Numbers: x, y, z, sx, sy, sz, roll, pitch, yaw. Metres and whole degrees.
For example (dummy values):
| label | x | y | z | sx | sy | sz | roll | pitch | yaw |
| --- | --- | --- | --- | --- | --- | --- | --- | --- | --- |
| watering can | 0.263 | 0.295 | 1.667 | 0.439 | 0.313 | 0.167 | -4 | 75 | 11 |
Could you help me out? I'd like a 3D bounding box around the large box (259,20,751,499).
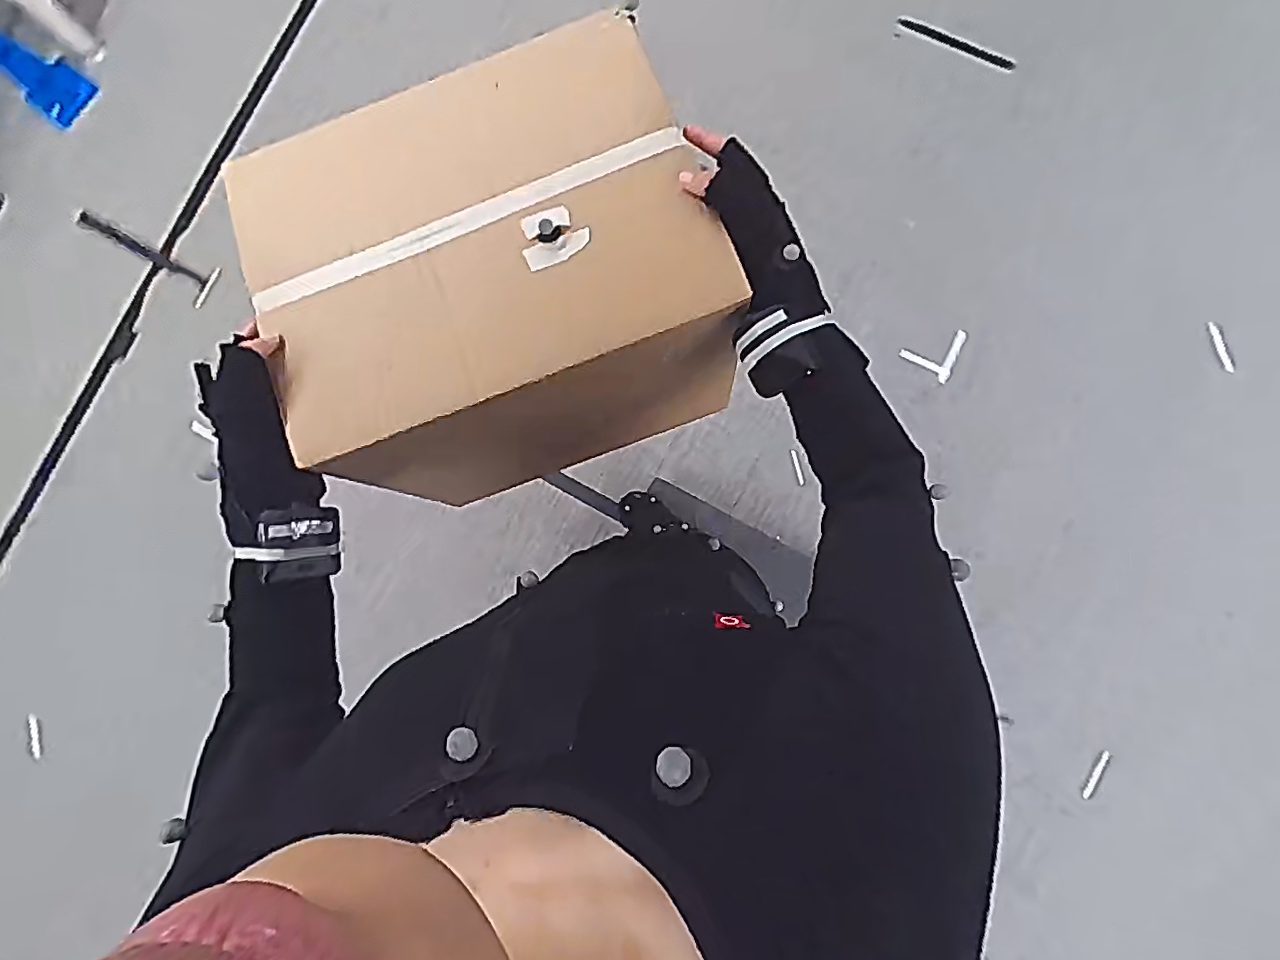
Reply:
| label | x | y | z | sx | sy | sz | roll | pitch | yaw |
| --- | --- | --- | --- | --- | --- | --- | --- | --- | --- |
| large box | -0.125 | -0.204 | 0.635 | 0.408 | 0.320 | 0.320 | -20 | 79 | 2 |
